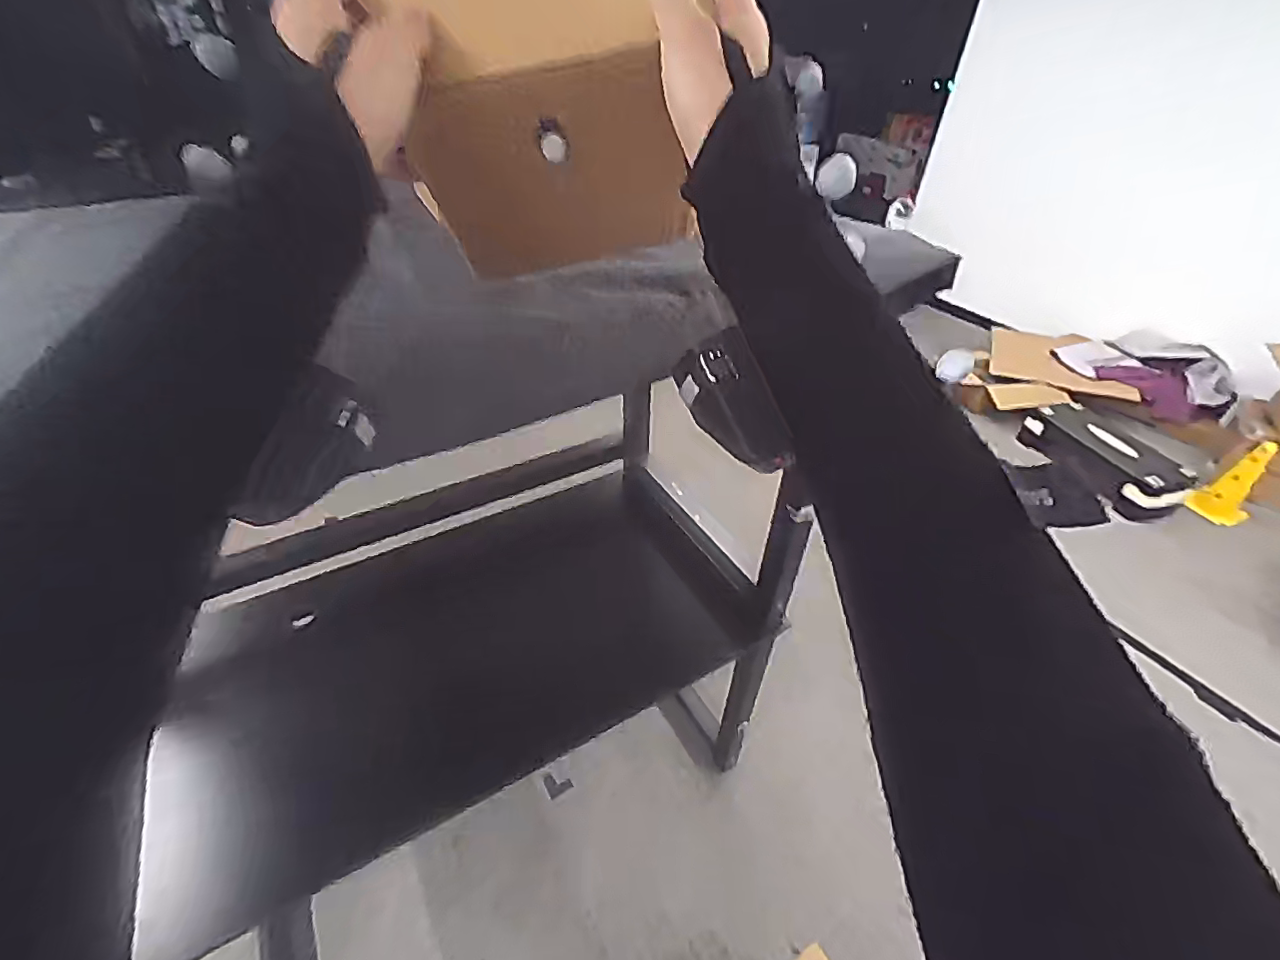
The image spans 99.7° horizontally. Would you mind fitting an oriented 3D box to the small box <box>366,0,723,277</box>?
[{"bbox_3d":[-0.057,-0.265,0.359,0.179,0.176,0.168,-14,78,0],"label":"small box"}]
